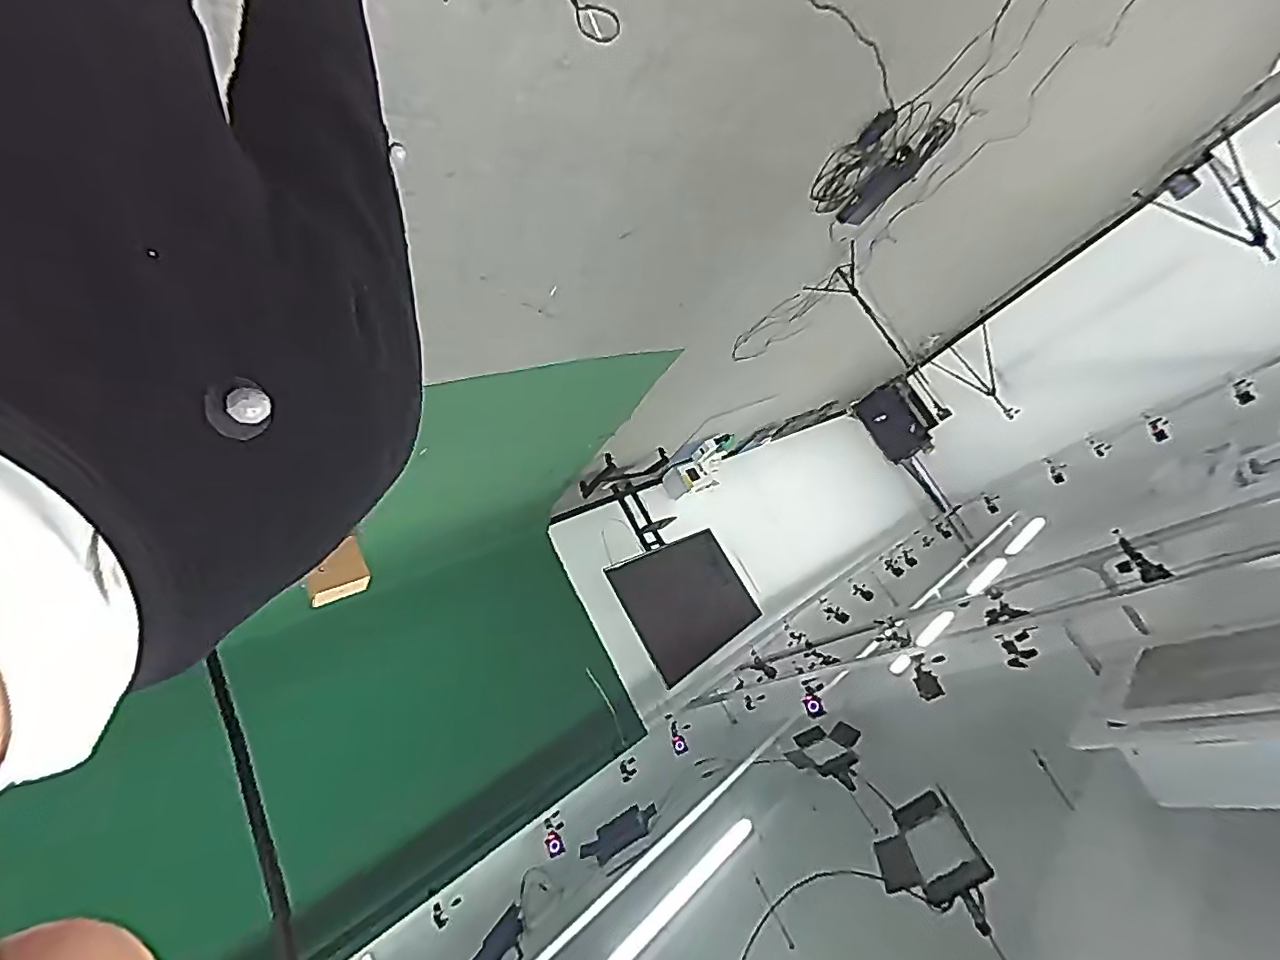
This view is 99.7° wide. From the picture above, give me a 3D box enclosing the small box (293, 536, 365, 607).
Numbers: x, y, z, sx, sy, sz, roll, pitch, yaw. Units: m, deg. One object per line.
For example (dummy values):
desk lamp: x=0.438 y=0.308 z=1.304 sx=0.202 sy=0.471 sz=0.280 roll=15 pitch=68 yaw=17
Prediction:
small box: x=-1.107 y=0.321 z=1.916 sx=0.179 sy=0.176 sz=0.168 roll=-18 pitch=166 yaw=-41
